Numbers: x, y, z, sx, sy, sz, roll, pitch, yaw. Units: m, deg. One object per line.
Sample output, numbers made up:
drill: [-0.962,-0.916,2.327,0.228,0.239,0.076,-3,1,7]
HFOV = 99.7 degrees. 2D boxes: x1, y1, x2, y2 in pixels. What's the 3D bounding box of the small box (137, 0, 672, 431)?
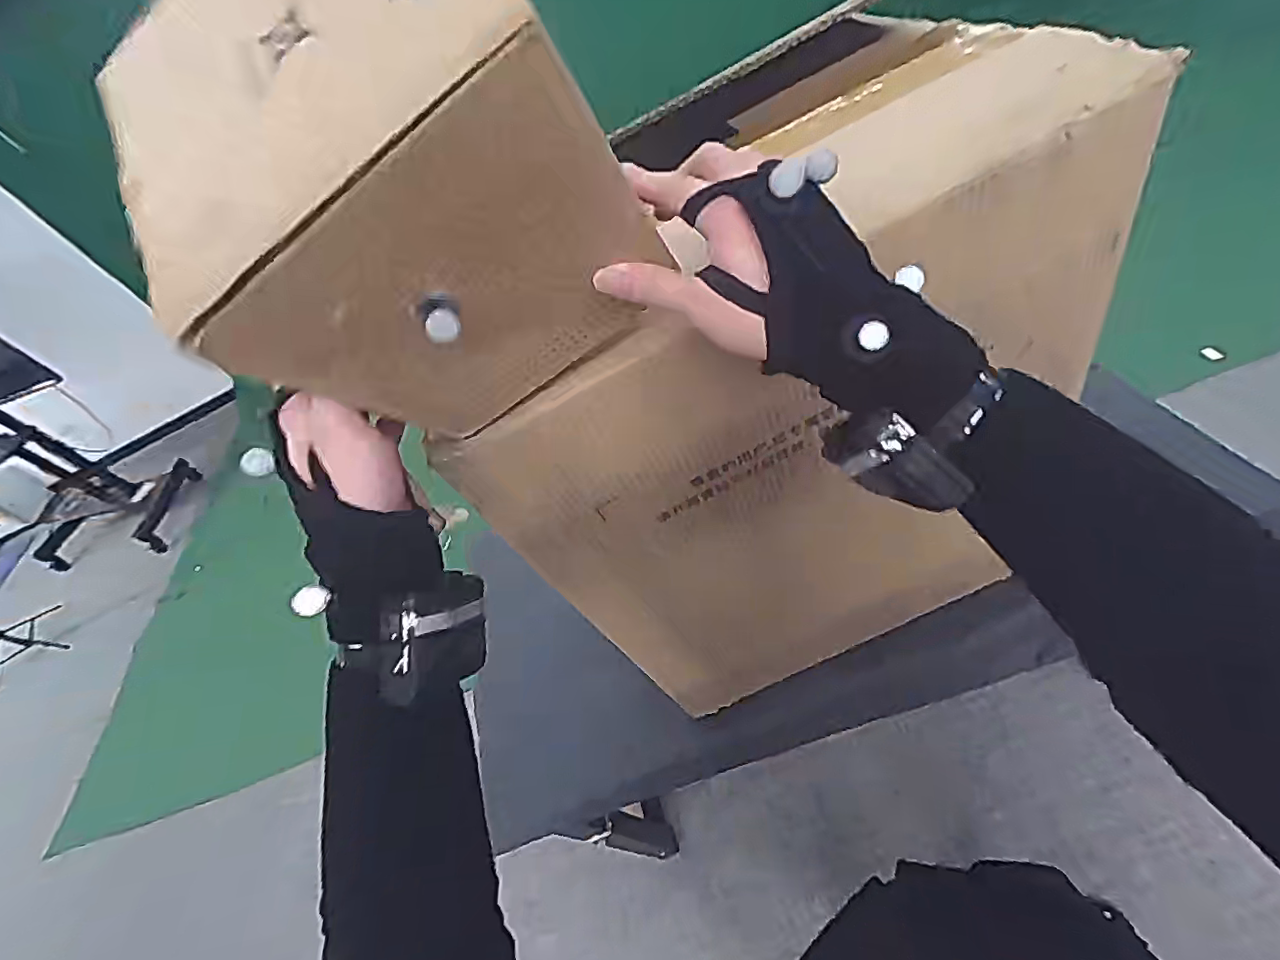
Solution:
small box: [-0.110,-0.149,0.289,0.179,0.176,0.168,-33,70,13]
